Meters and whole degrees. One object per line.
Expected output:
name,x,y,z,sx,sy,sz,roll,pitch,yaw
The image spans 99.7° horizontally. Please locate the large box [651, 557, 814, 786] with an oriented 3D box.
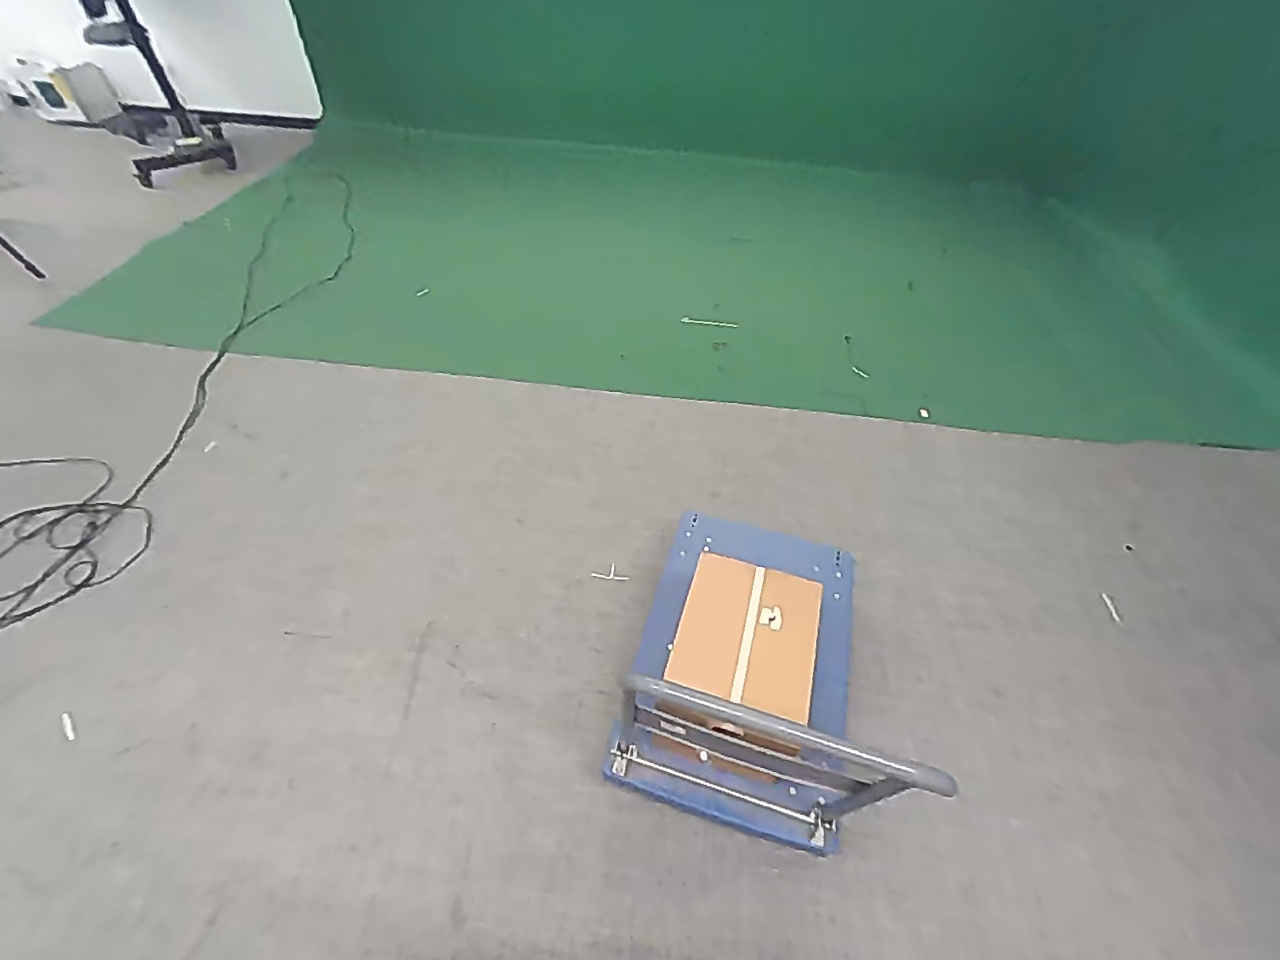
large box,0.228,0.474,1.354,0.320,0.320,0.408,15,48,9
